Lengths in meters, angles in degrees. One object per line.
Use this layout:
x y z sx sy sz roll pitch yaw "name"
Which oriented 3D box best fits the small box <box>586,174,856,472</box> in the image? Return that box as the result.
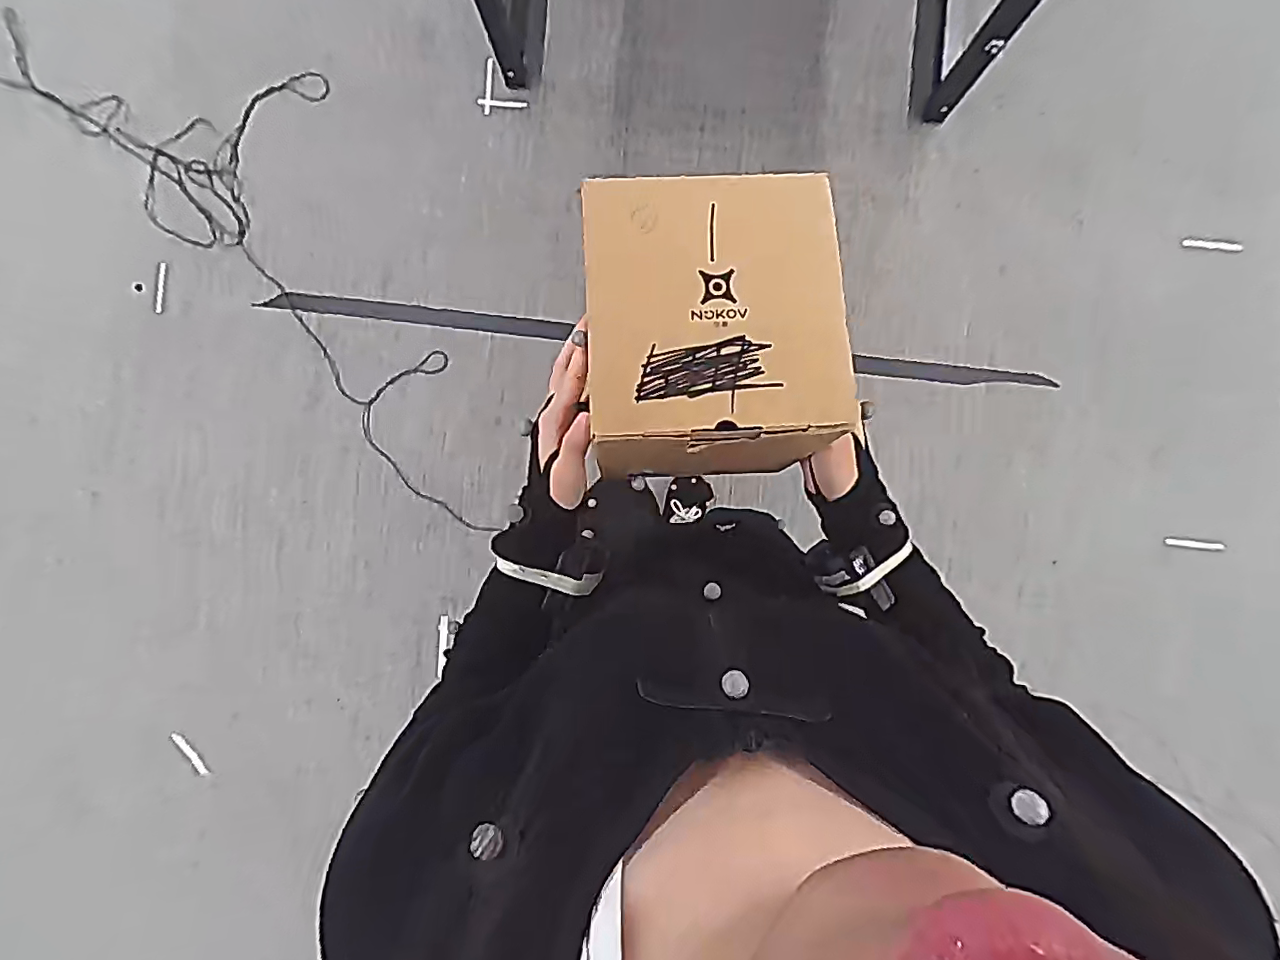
0.048 -0.102 0.423 0.168 0.176 0.179 -3 81 -3 "small box"
